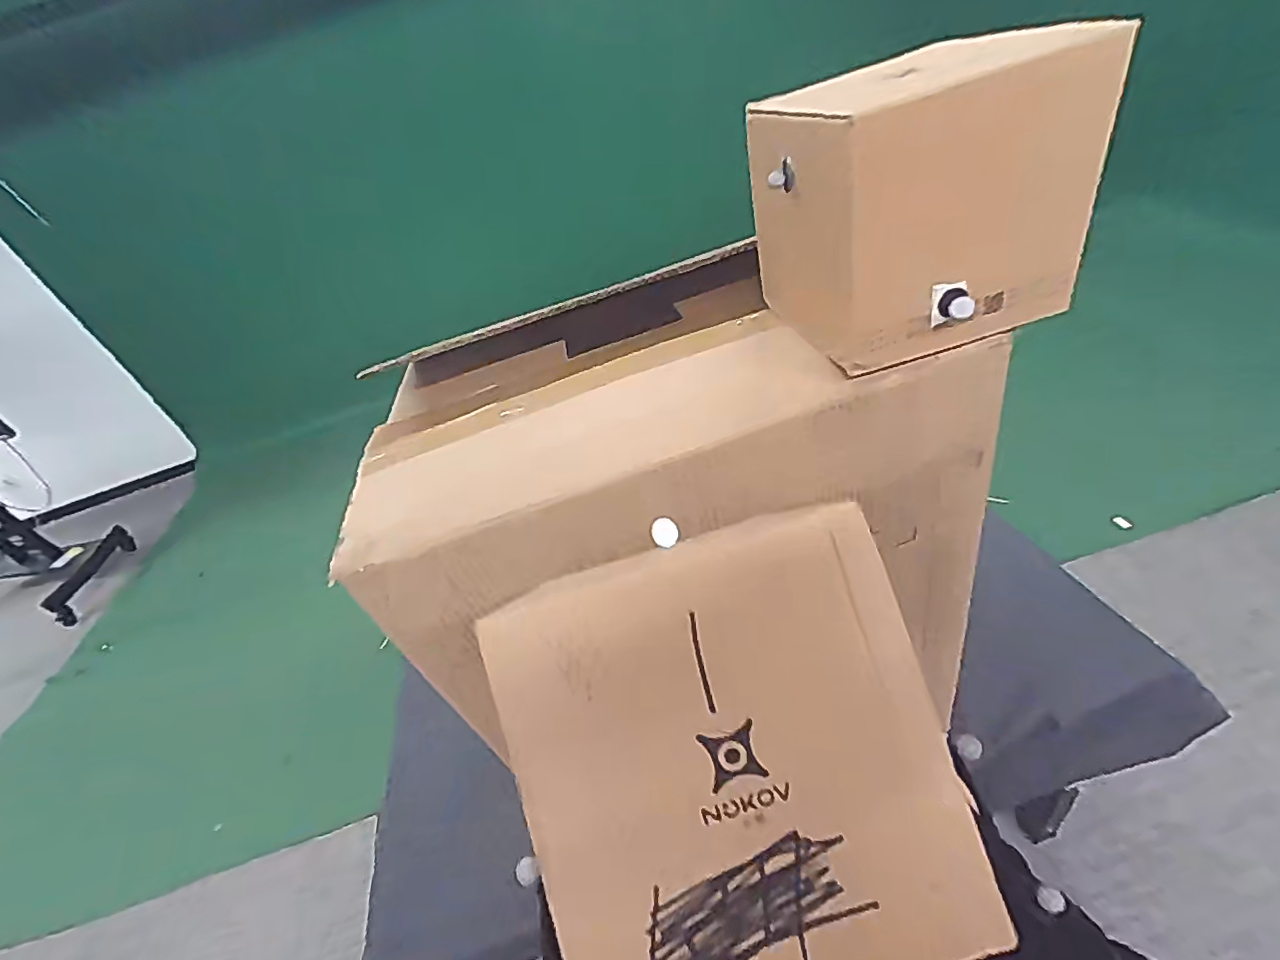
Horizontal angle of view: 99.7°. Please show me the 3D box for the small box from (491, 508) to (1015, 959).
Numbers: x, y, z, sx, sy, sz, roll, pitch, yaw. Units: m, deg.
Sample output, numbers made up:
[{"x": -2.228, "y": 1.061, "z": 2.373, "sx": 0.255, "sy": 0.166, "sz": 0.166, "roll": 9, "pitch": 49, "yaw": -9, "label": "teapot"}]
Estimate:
[{"x": 0.042, "y": 0.123, "z": 0.292, "sx": 0.168, "sy": 0.179, "sz": 0.176, "roll": -18, "pitch": -7, "yaw": -2, "label": "small box"}]

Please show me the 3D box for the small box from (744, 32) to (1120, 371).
[{"x": 0.194, "y": -0.208, "z": 0.415, "sx": 0.168, "sy": 0.176, "sz": 0.179, "roll": -20, "pitch": 38, "yaw": -1, "label": "small box"}]
